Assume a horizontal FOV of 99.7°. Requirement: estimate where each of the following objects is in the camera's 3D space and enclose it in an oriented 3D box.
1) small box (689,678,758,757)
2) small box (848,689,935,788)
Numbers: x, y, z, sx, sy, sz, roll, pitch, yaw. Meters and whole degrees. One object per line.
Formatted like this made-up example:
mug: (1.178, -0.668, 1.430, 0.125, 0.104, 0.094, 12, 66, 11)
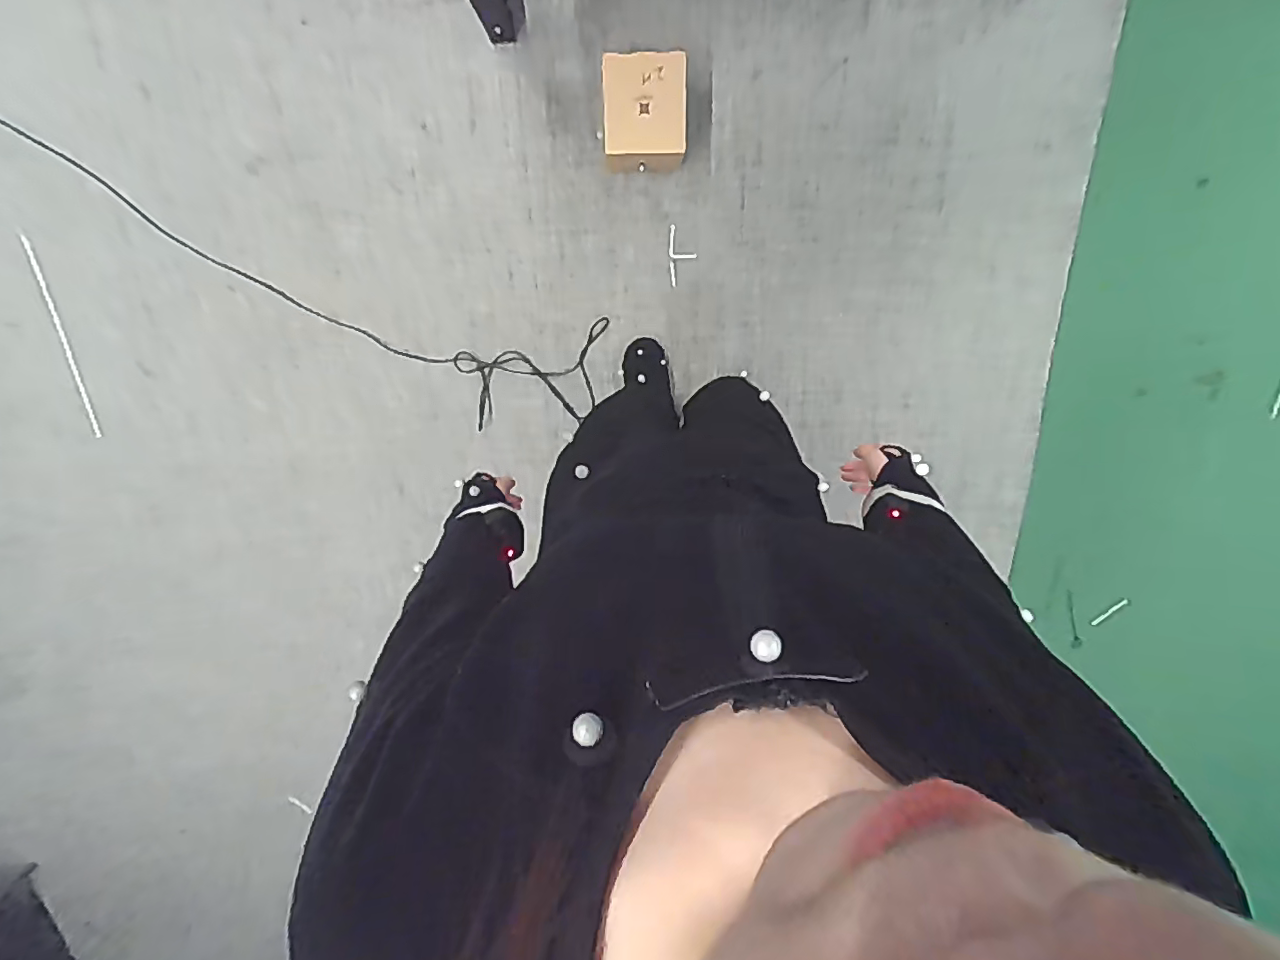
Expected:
small box: (0.247, 0.729, 1.654, 0.179, 0.176, 0.168, 5, 109, -2)
small box: (0.682, 0.697, 1.479, 0.168, 0.176, 0.179, -11, 109, 3)
